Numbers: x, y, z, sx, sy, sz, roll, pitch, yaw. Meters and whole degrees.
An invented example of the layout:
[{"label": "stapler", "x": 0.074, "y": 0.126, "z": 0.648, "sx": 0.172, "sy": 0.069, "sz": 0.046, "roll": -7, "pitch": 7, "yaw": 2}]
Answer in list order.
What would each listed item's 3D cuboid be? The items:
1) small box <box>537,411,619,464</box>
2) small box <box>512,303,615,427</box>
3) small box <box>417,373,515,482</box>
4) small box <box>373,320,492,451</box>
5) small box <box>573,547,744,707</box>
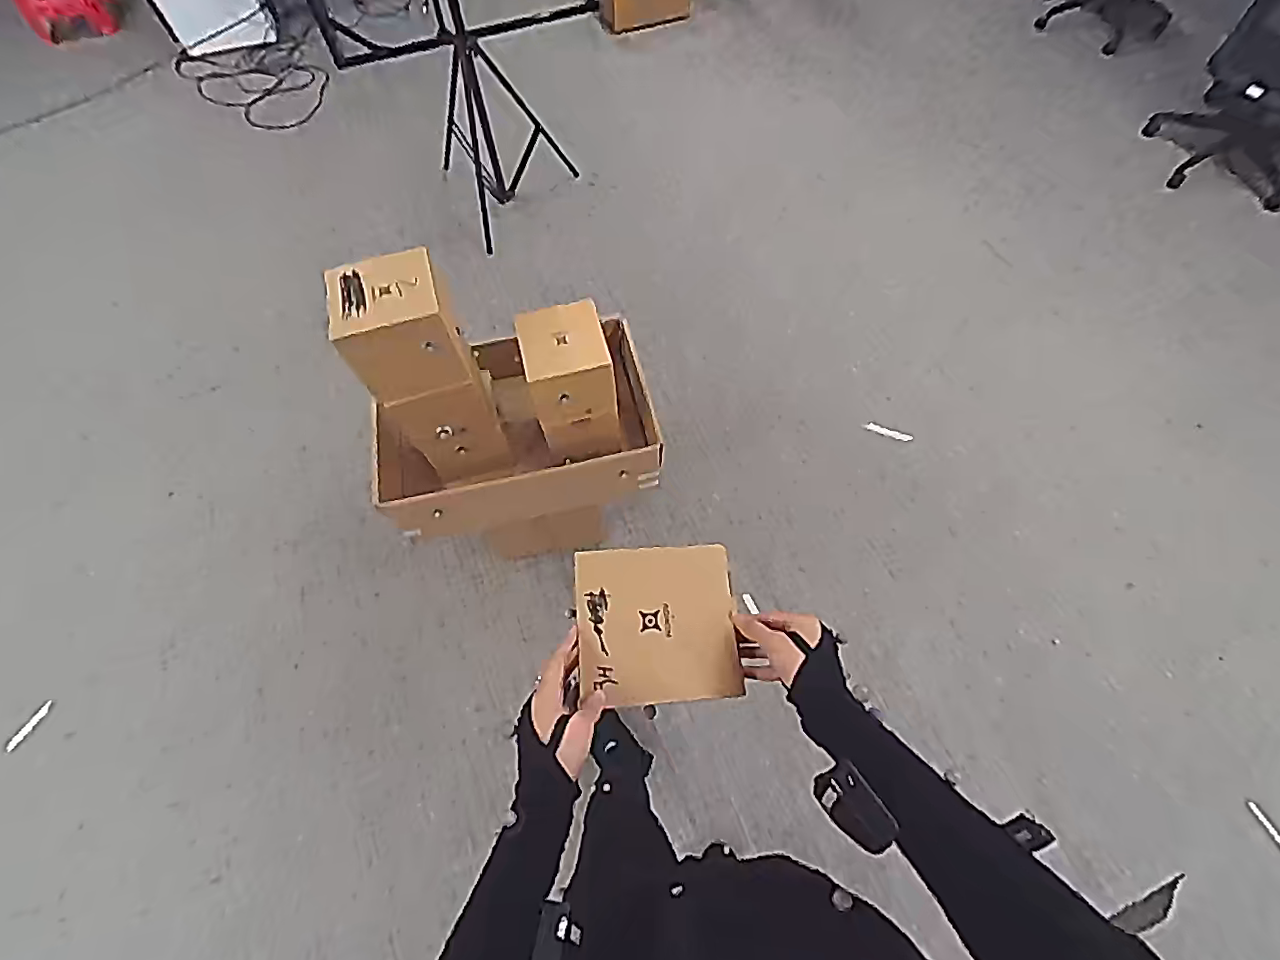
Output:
[{"label": "small box", "x": -0.151, "y": -0.153, "z": 1.261, "sx": 0.168, "sy": 0.176, "sz": 0.179, "roll": -15, "pitch": 63, "yaw": -6}, {"label": "small box", "x": -0.153, "y": -0.228, "z": 1.117, "sx": 0.168, "sy": 0.176, "sz": 0.179, "roll": -15, "pitch": 63, "yaw": -6}, {"label": "small box", "x": -0.403, "y": -0.114, "z": 1.245, "sx": 0.179, "sy": 0.176, "sz": 0.168, "roll": -15, "pitch": 64, "yaw": -7}, {"label": "small box", "x": -0.415, "y": -0.187, "z": 1.098, "sx": 0.168, "sy": 0.176, "sz": 0.179, "roll": -18, "pitch": 64, "yaw": -6}, {"label": "small box", "x": 0.009, "y": 0.182, "z": 0.658, "sx": 0.179, "sy": 0.176, "sz": 0.168, "roll": -1, "pitch": 68, "yaw": -8}]
